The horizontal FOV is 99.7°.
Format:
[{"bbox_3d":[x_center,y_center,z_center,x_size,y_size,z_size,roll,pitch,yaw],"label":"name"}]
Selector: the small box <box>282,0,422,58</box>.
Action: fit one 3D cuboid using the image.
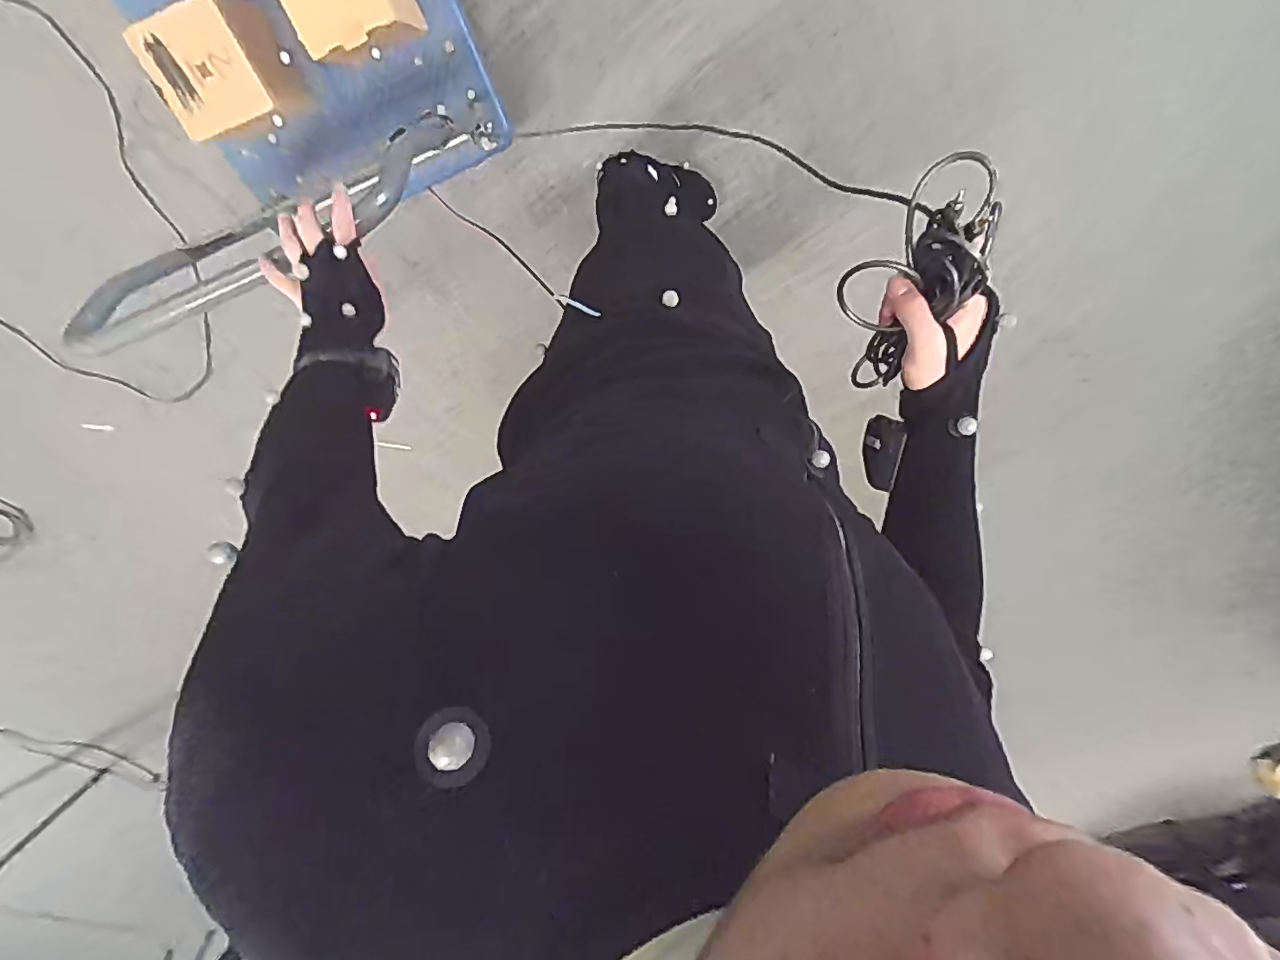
[{"bbox_3d":[-0.501,-0.844,0.907,0.168,0.176,0.179,-16,125,10],"label":"small box"}]
